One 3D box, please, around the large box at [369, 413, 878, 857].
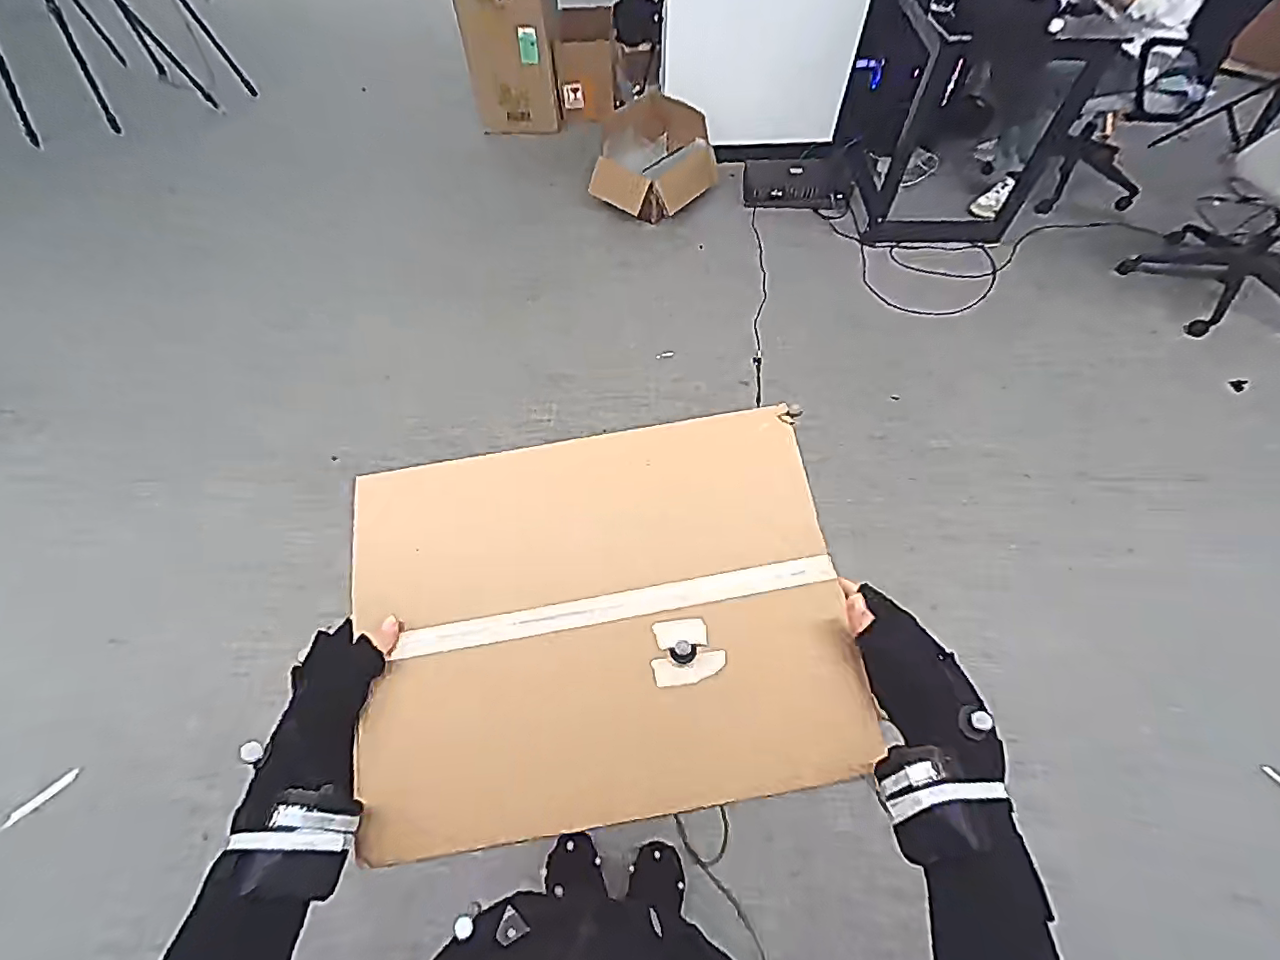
[{"bbox_3d":[-0.030,0.162,0.602,0.408,0.320,0.320,-9,70,-1],"label":"large box"}]
